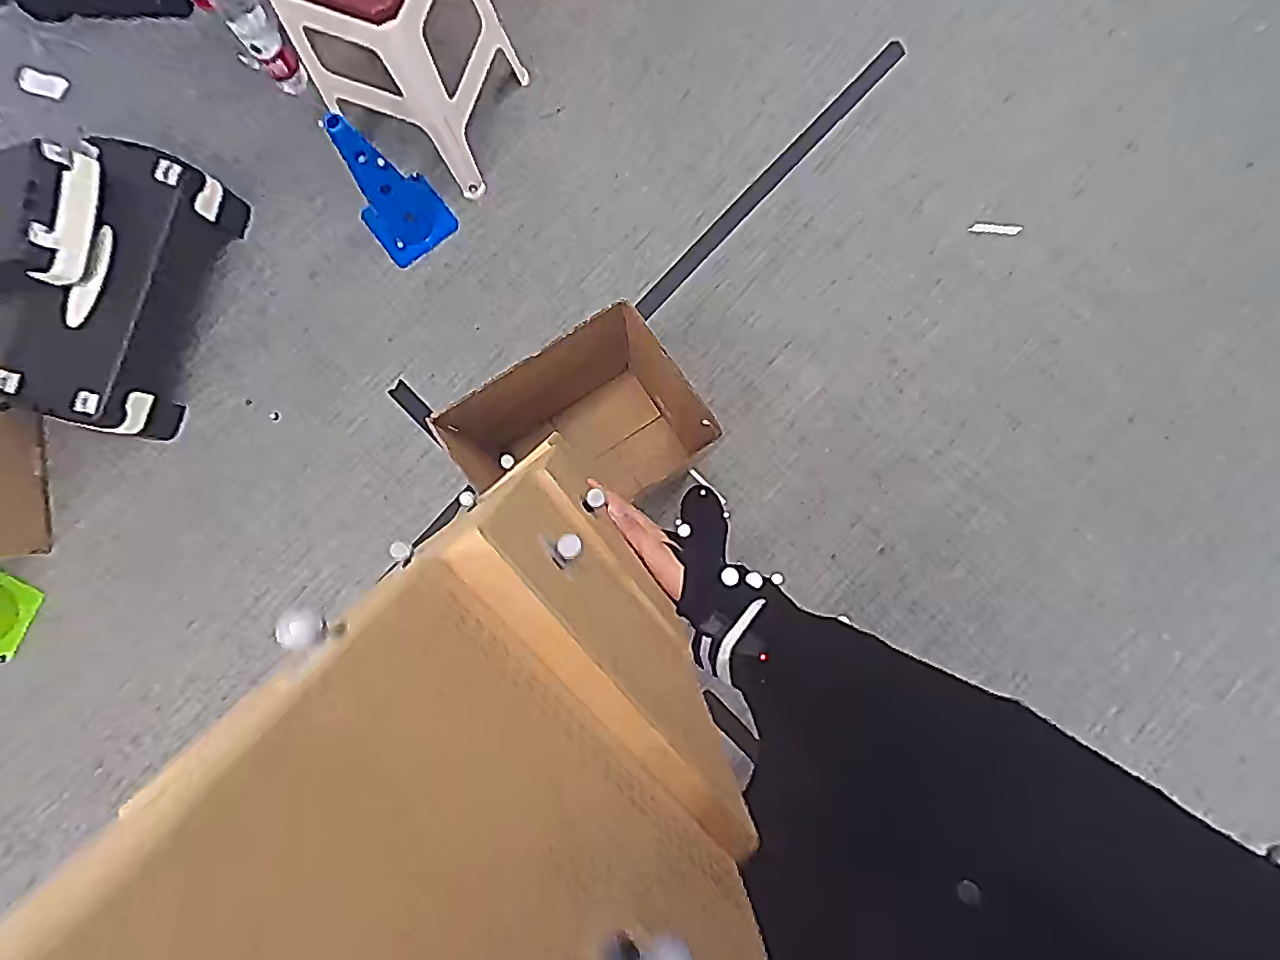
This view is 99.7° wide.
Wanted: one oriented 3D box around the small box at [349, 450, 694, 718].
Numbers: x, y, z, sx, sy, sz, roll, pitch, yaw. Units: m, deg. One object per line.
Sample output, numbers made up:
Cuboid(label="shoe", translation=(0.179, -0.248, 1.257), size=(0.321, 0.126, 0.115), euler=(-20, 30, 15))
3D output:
Cuboid(label="small box", translation=(-0.084, 0.088, 0.443), size=(0.168, 0.176, 0.179), euler=(-37, 101, 1))

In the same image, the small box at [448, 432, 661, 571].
Cuboid(label="small box", translation=(-0.100, 0.061, 0.604), size=(0.168, 0.176, 0.179), euler=(-41, 100, 1))

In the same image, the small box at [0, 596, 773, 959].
Cuboid(label="small box", translation=(-0.068, 0.148, 0.119), size=(0.168, 0.176, 0.179), euler=(-41, 101, 1))
